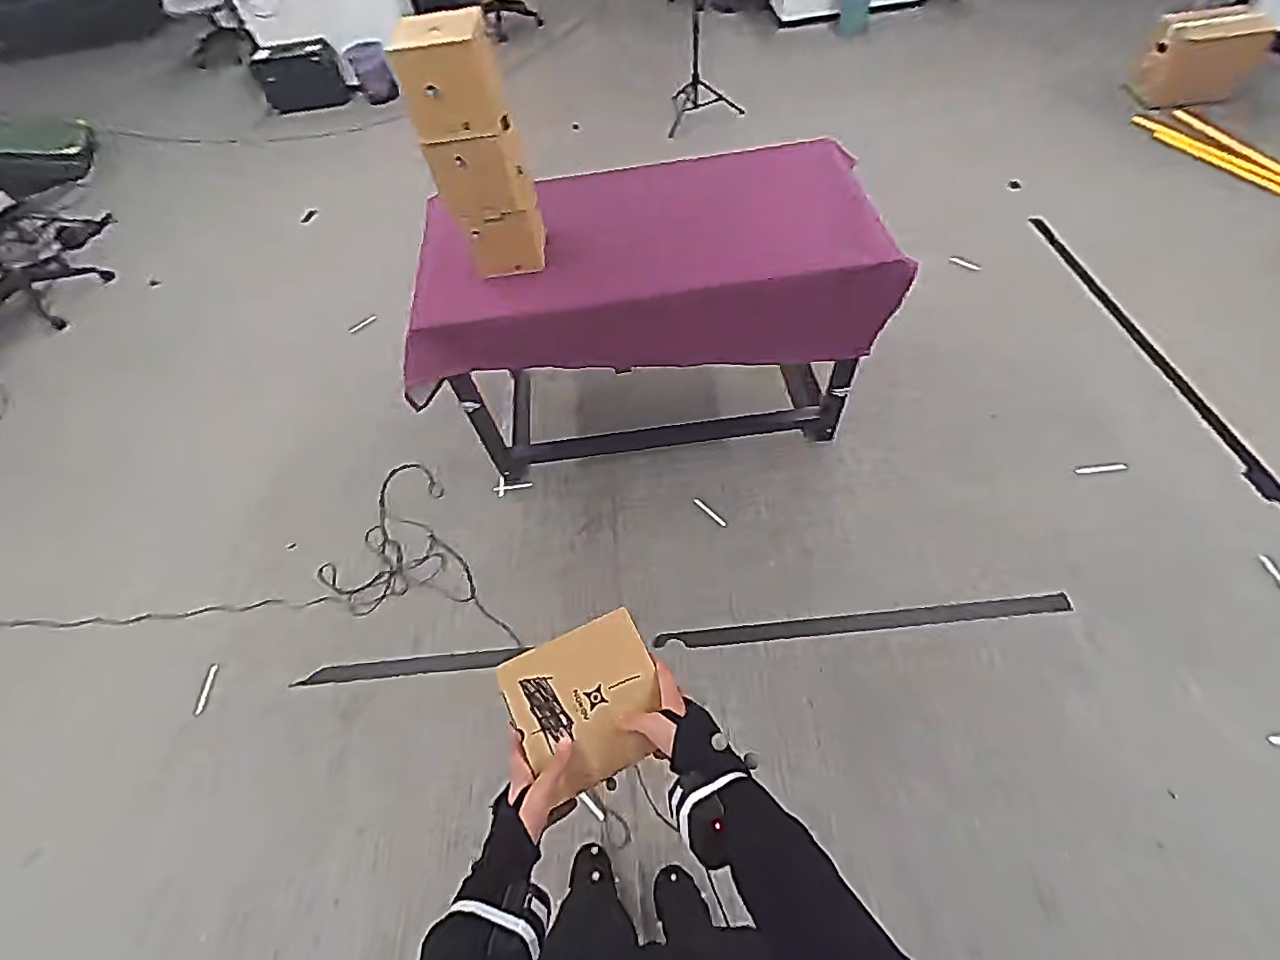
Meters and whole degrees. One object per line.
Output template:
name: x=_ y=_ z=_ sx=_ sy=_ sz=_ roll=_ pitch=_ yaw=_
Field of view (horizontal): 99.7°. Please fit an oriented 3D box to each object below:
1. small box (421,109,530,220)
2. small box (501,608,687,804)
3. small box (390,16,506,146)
small box: x=-0.369 y=-0.722 z=1.248 sx=0.179 sy=0.176 sz=0.168 roll=-1 pitch=57 yaw=5
small box: x=-0.060 y=0.295 z=0.700 sx=0.179 sy=0.176 sz=0.168 roll=-21 pitch=64 yaw=-16
small box: x=-0.383 y=-0.810 z=1.111 sx=0.168 sy=0.176 sz=0.179 roll=-6 pitch=55 yaw=2
